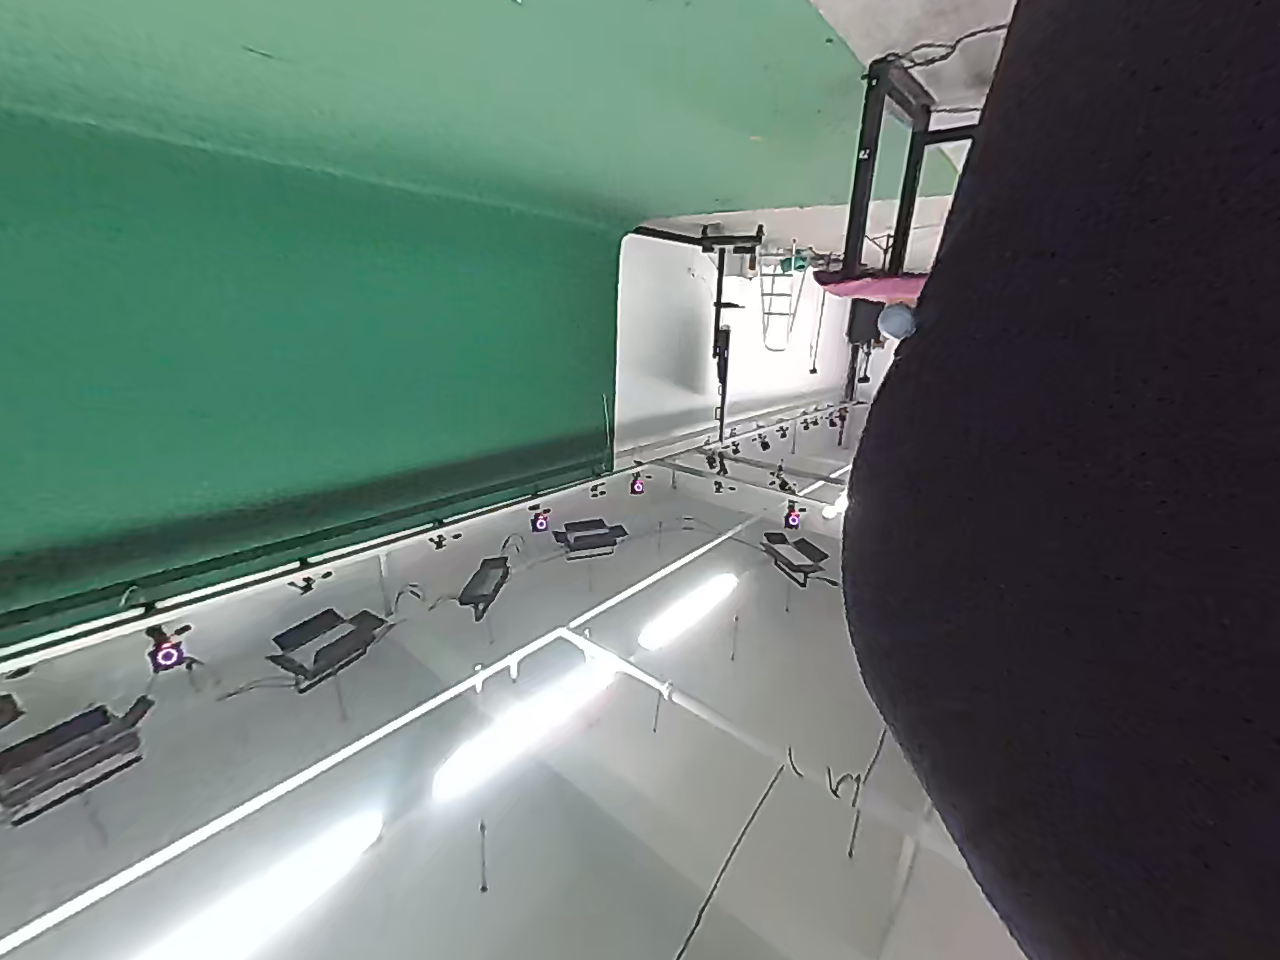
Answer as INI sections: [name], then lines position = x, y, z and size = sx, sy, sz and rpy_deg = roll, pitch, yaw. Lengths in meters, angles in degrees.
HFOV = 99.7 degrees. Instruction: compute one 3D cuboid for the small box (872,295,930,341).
[small box]
position = 1.079, -0.670, 2.229
size = 0.168, 0.176, 0.179
rpy_deg = 14, -159, 35
